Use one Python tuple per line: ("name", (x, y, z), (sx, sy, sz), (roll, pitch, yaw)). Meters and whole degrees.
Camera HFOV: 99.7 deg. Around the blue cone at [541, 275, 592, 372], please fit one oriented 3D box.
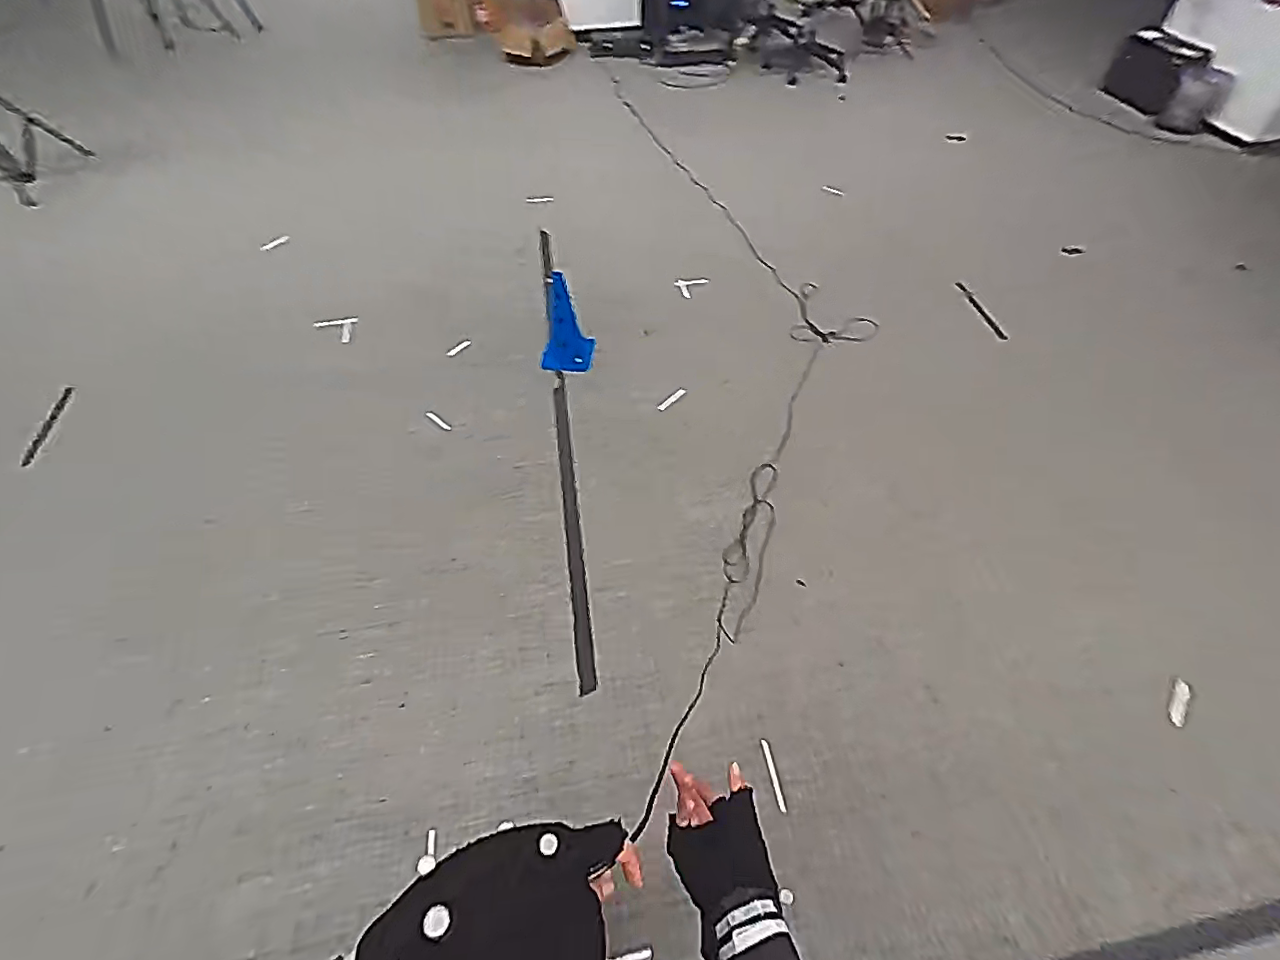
("blue cone", (-0.297, -0.602, 2.054), (0.192, 0.380, 0.193), (5, 53, 5))
